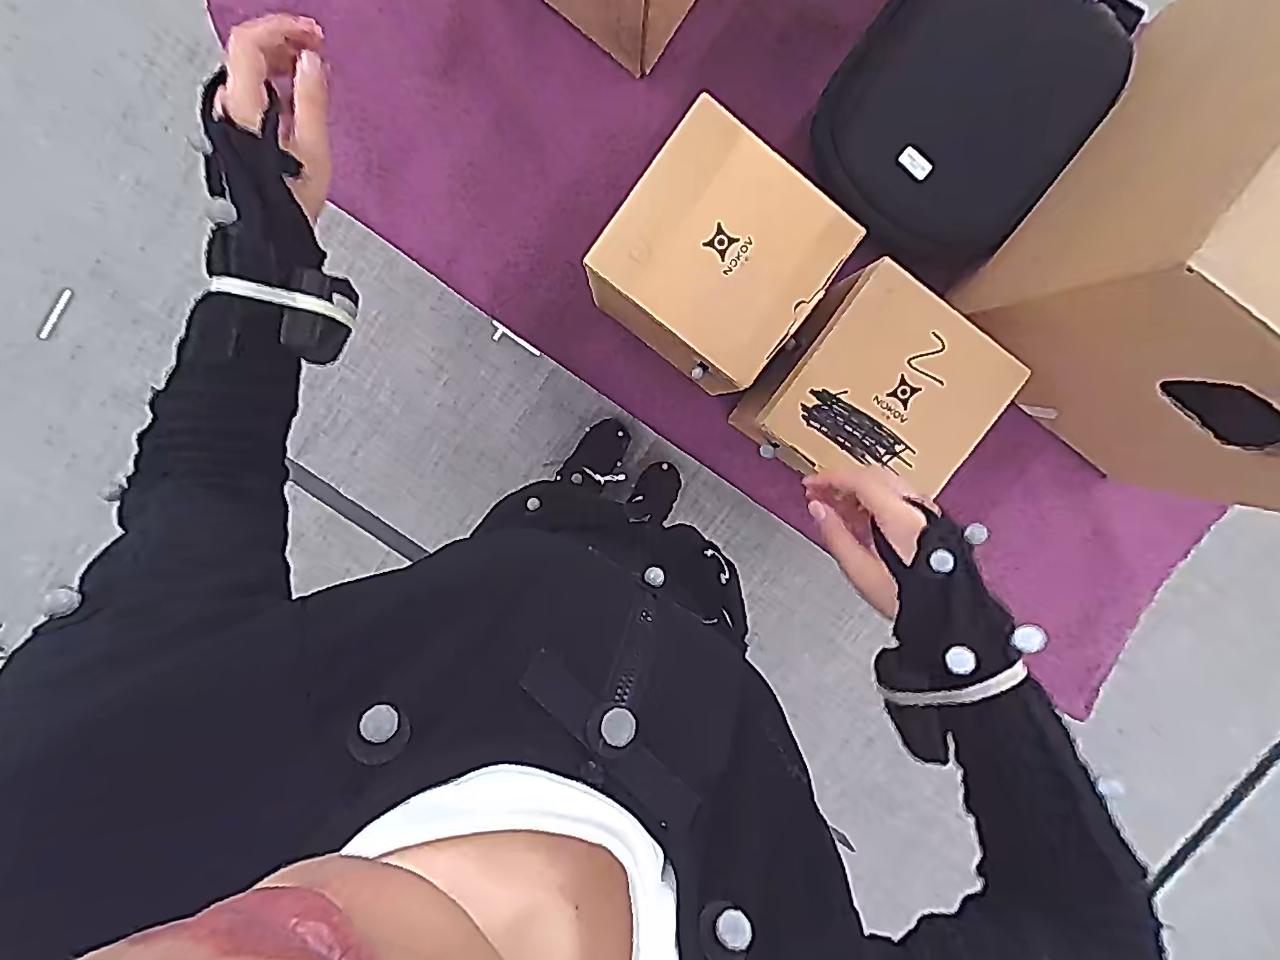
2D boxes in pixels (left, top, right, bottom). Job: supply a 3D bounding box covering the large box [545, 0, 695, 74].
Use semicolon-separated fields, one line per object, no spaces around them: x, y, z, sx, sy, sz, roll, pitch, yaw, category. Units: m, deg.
-0.001;-0.641;0.383;0.320;0.320;0.408;34;99;-7;large box
